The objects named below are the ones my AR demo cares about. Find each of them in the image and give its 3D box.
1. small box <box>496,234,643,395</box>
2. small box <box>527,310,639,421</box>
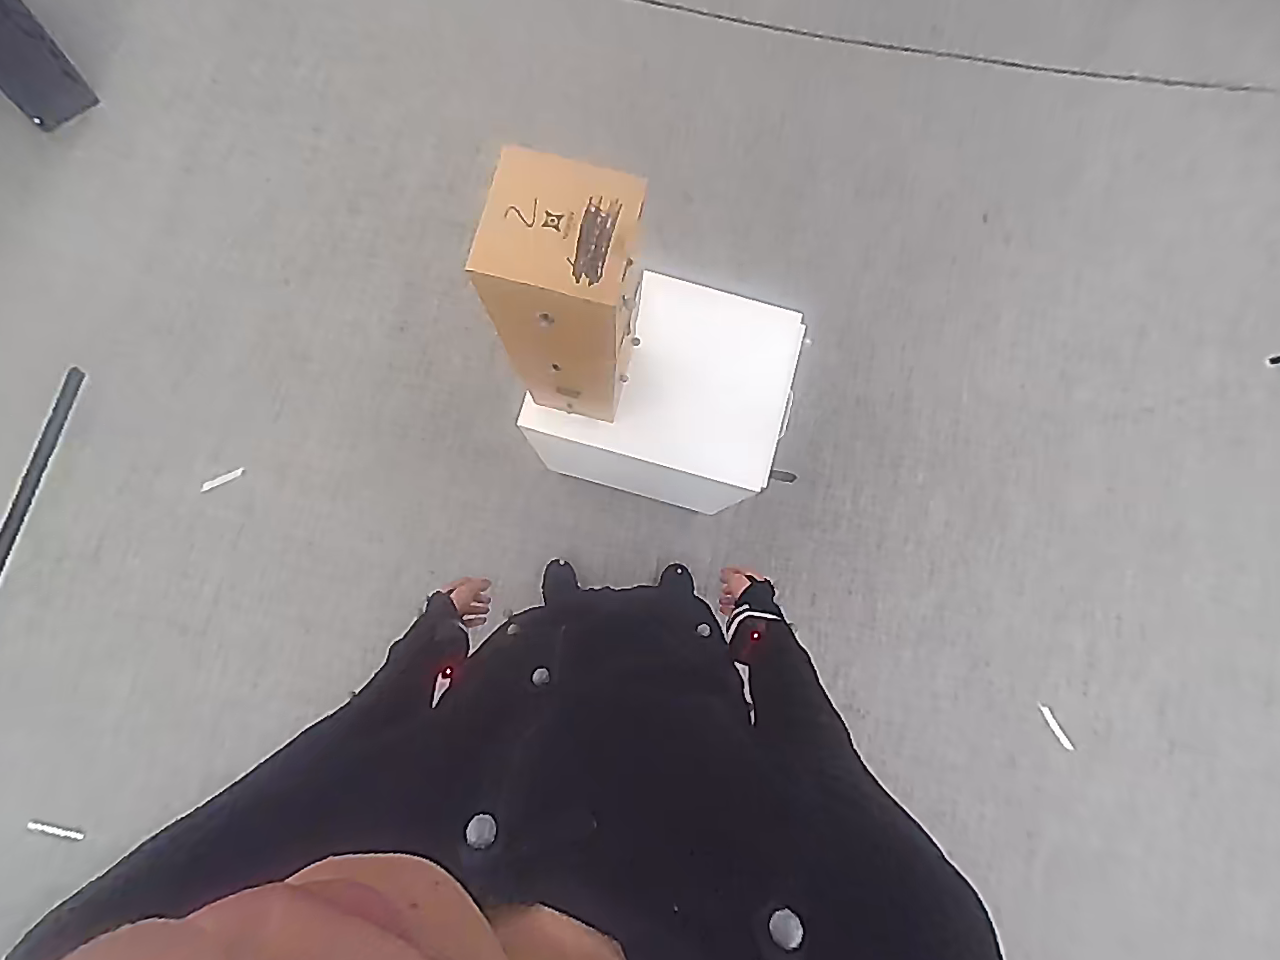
[{"bbox_3d":[-0.102,-0.246,0.849,0.179,0.176,0.168,15,82,0],"label":"small box"},{"bbox_3d":[-0.106,-0.229,1.012,0.168,0.176,0.179,14,82,0],"label":"small box"}]
